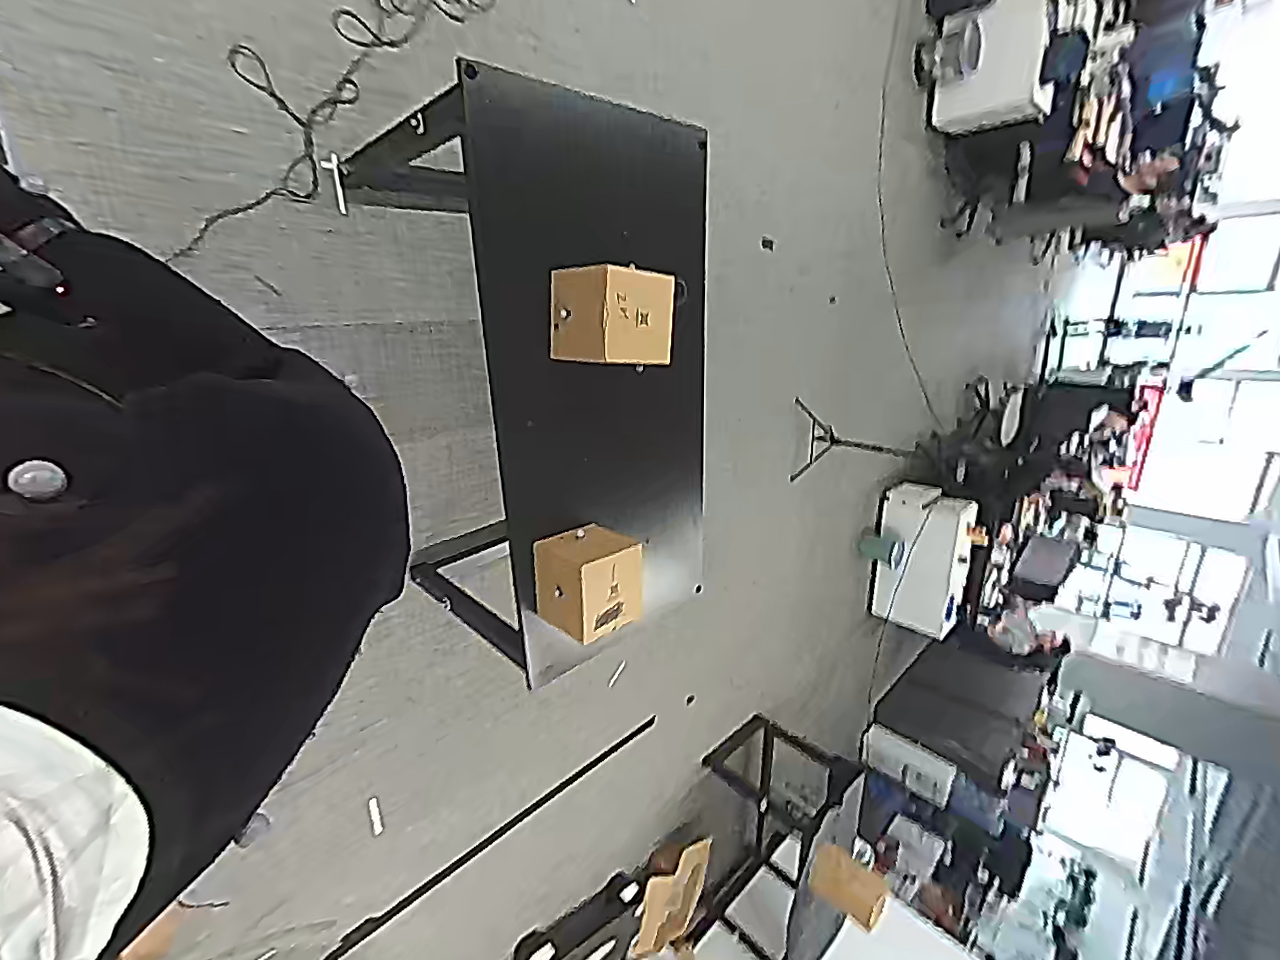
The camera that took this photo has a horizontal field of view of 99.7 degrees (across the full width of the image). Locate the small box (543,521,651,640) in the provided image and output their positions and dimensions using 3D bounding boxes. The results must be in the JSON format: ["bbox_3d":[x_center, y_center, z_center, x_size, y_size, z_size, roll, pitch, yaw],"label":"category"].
[{"bbox_3d":[-0.093,0.206,1.157,0.168,0.176,0.179,-16,112,-42],"label":"small box"}]

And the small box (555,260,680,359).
[{"bbox_3d":[-0.045,-0.325,1.051,0.179,0.176,0.168,-11,109,-42],"label":"small box"}]
